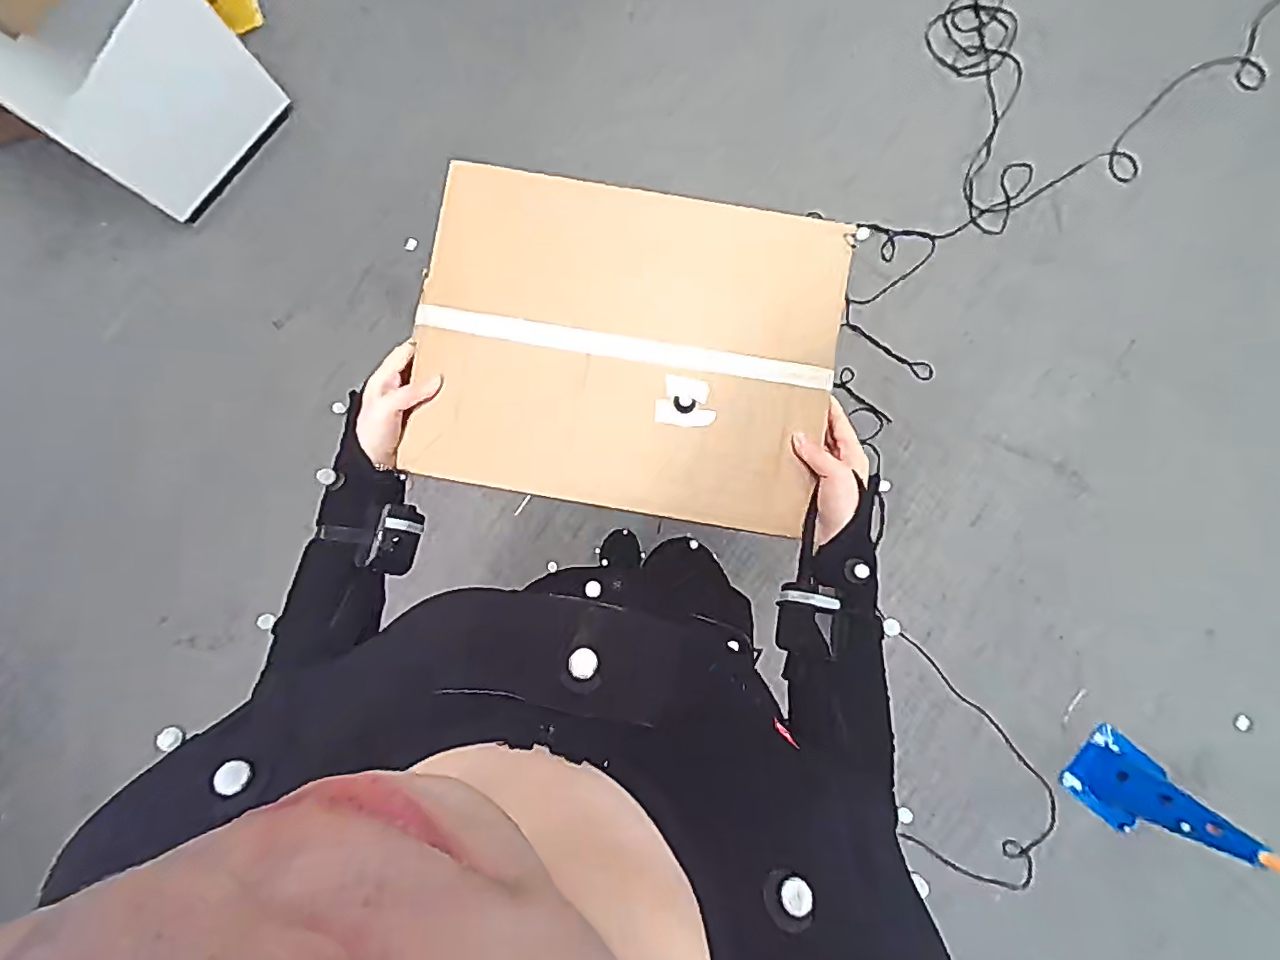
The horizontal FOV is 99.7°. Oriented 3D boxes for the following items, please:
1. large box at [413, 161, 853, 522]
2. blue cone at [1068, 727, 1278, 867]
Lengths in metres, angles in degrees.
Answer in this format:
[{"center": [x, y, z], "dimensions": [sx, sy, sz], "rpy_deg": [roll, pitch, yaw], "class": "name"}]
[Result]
[{"center": [-0.008, -0.134, 0.683], "dimensions": [0.408, 0.320, 0.320], "rpy_deg": [10, 89, 0], "class": "large box"}, {"center": [1.209, 0.738, 1.223], "dimensions": [0.192, 0.380, 0.193], "rpy_deg": [41, 87, 6], "class": "blue cone"}]
